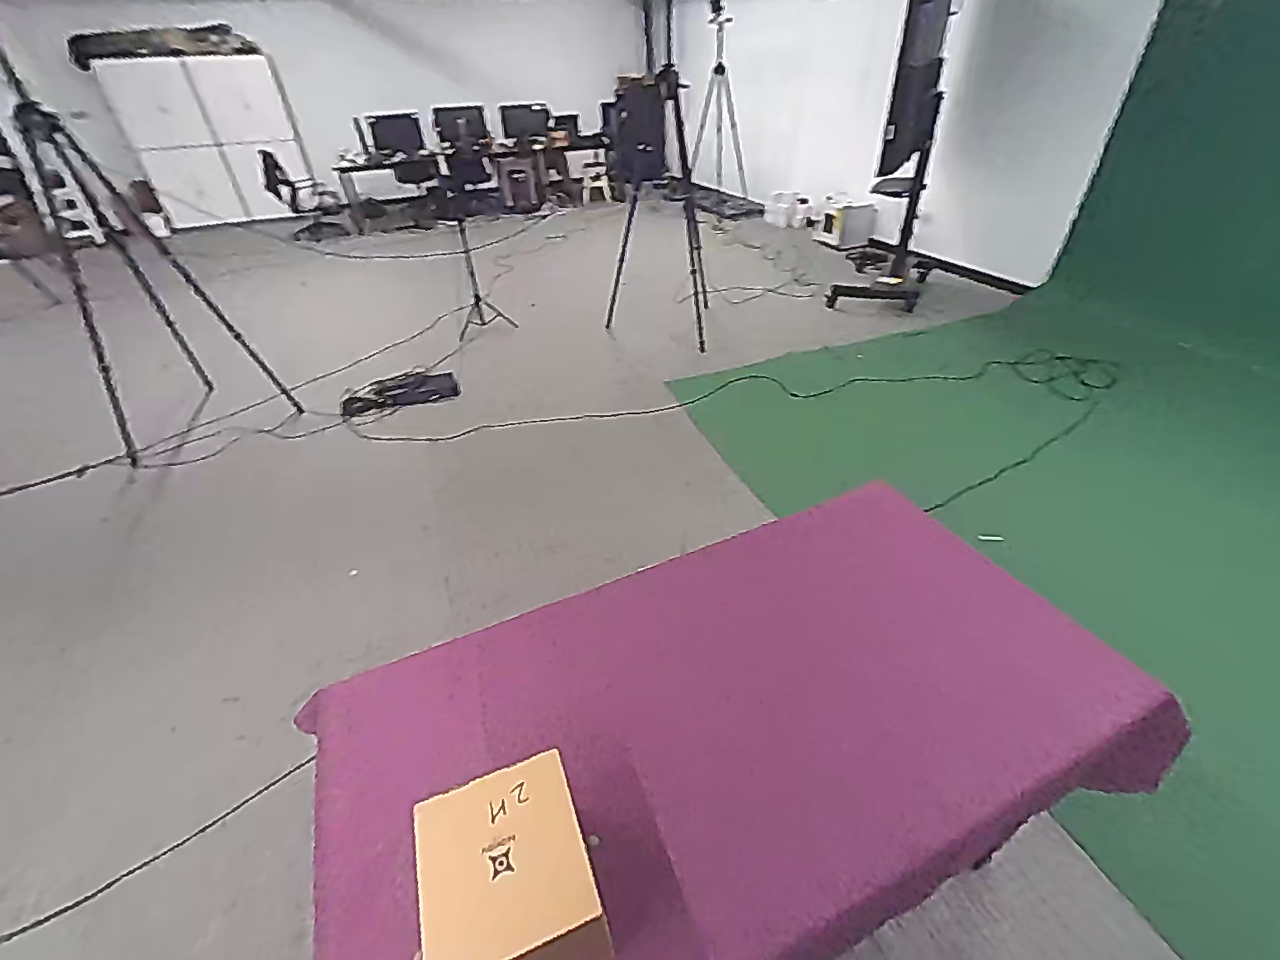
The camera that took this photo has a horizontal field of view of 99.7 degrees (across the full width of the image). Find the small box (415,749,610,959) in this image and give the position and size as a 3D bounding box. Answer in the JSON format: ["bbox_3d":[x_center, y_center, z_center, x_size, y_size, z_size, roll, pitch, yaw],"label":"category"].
[{"bbox_3d":[-0.138,0.447,0.602,0.168,0.176,0.179,-15,39,-16],"label":"small box"}]
